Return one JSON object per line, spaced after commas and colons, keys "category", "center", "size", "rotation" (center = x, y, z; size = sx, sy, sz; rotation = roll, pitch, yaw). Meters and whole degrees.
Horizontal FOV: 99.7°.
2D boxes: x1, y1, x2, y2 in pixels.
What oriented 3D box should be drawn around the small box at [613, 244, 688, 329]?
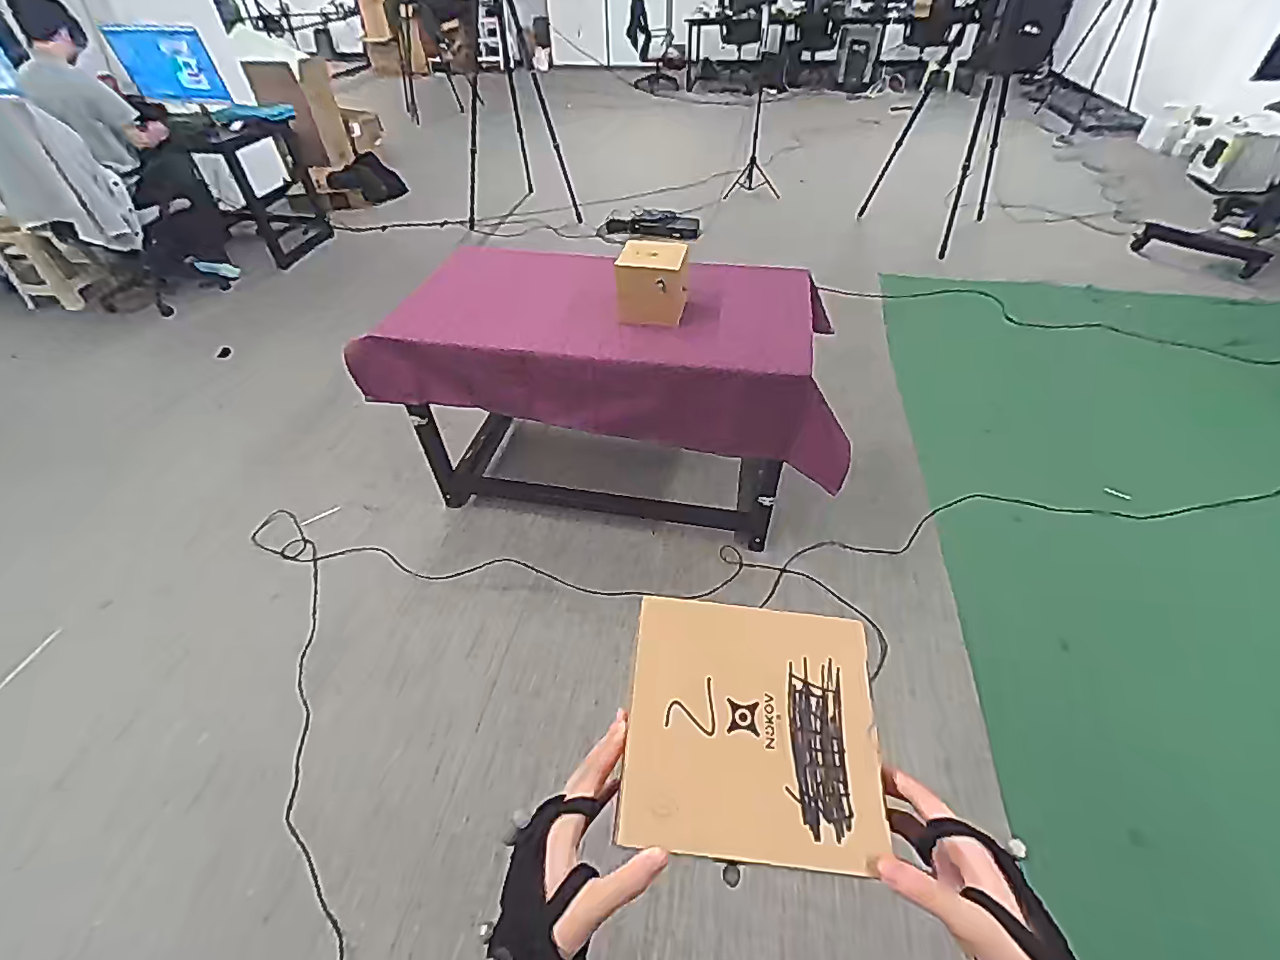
{"category": "small box", "center": [0.032, -0.537, 1.508], "size": [0.179, 0.176, 0.168], "rotation": [8, 46, 10]}
